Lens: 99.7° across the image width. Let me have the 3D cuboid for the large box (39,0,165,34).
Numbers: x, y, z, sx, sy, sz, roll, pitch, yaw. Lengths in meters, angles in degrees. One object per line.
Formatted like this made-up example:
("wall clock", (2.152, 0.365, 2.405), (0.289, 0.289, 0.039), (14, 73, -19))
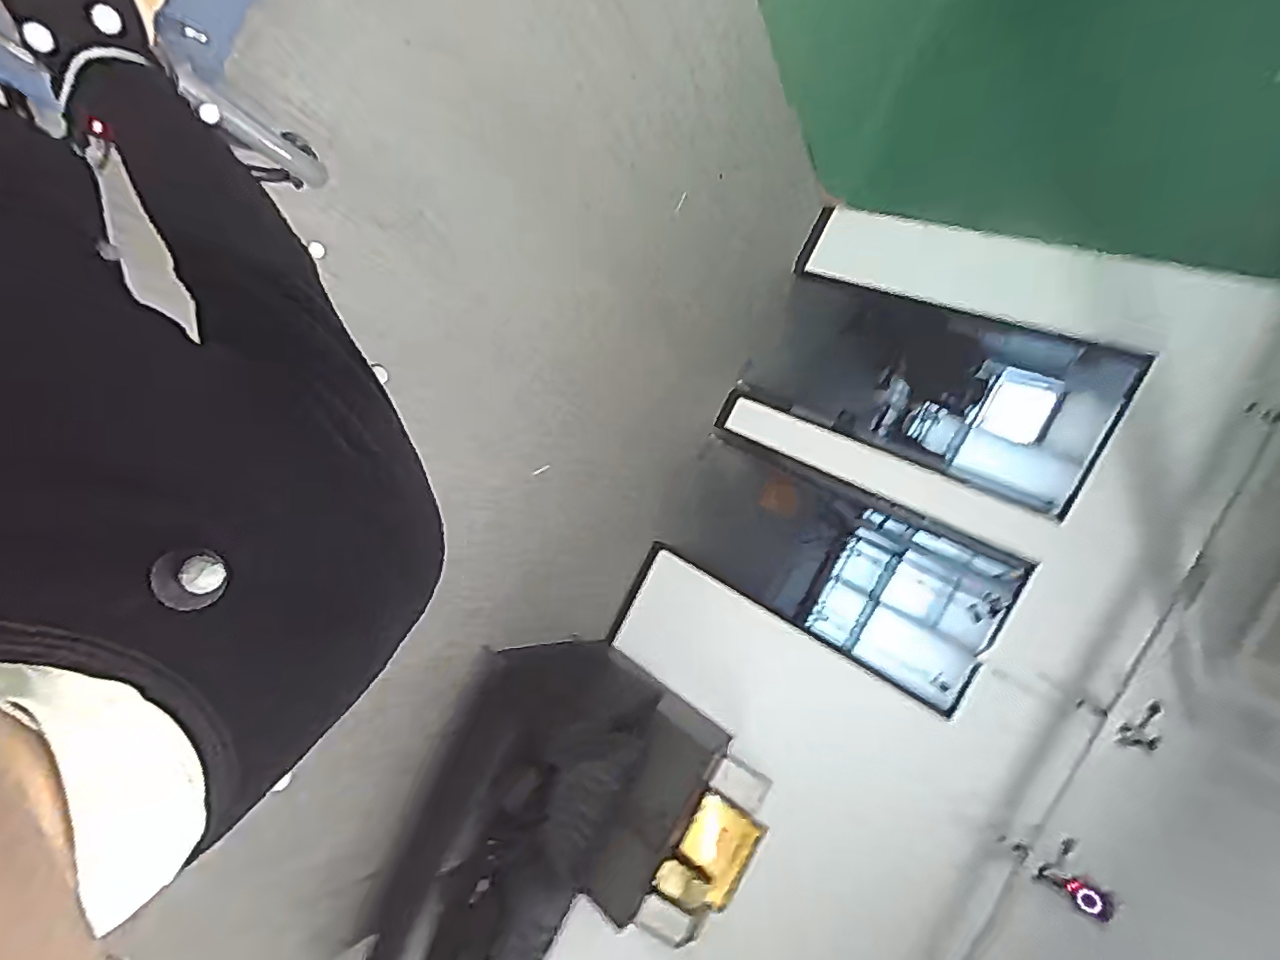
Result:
("large box", (-0.778, -0.883, 0.687), (0.408, 0.320, 0.320), (-63, 151, 0))
